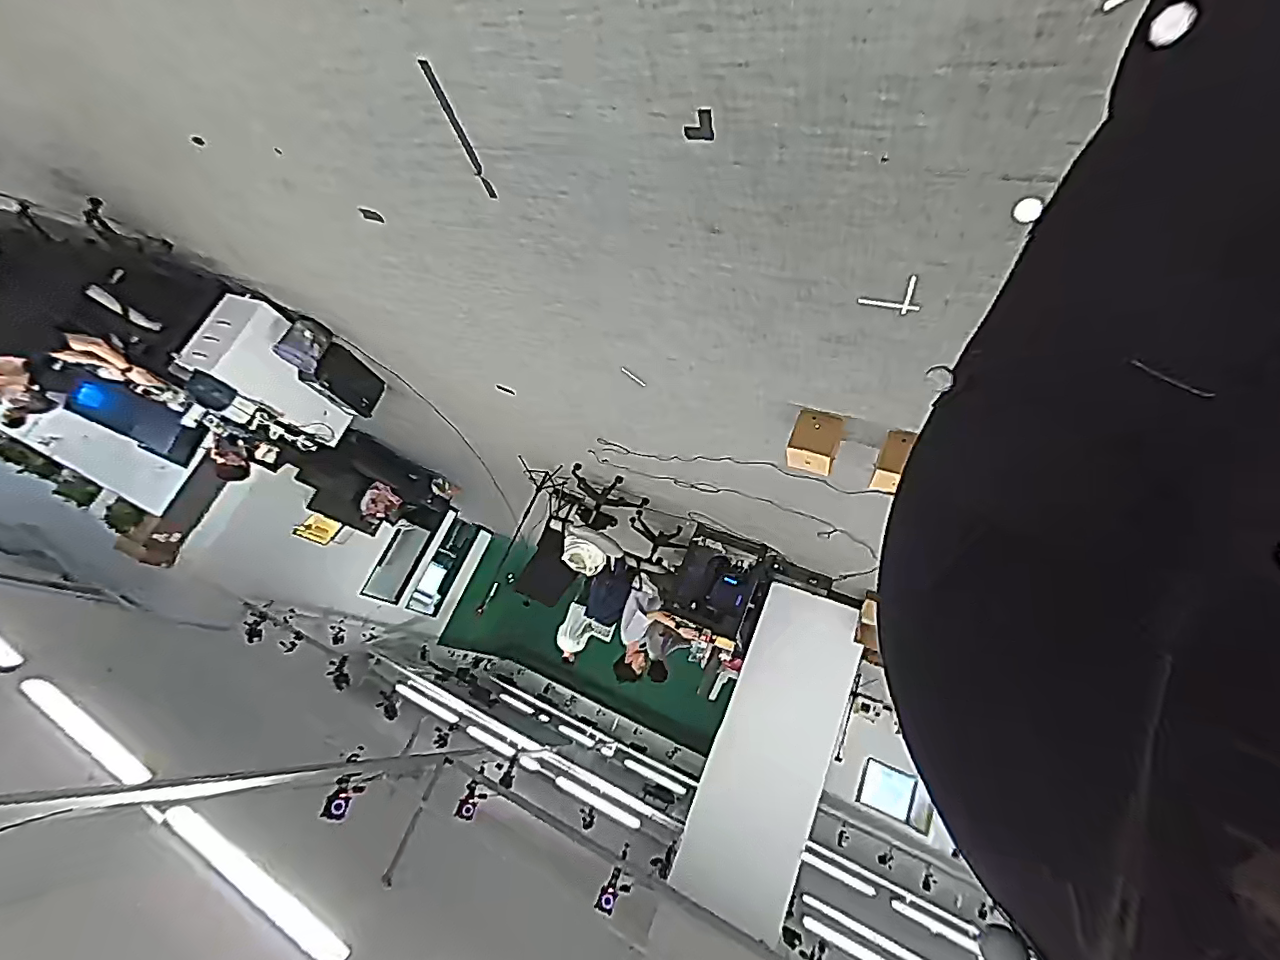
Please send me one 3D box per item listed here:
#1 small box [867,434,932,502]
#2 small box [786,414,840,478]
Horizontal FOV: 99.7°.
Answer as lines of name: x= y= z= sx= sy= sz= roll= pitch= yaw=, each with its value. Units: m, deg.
small box: x=0.966 y=-0.045 z=2.011 sx=0.168 sy=0.176 sz=0.179 roll=18 pitch=162 yaw=19
small box: x=0.680 y=-0.136 z=2.127 sx=0.168 sy=0.176 sz=0.179 roll=17 pitch=162 yaw=23
